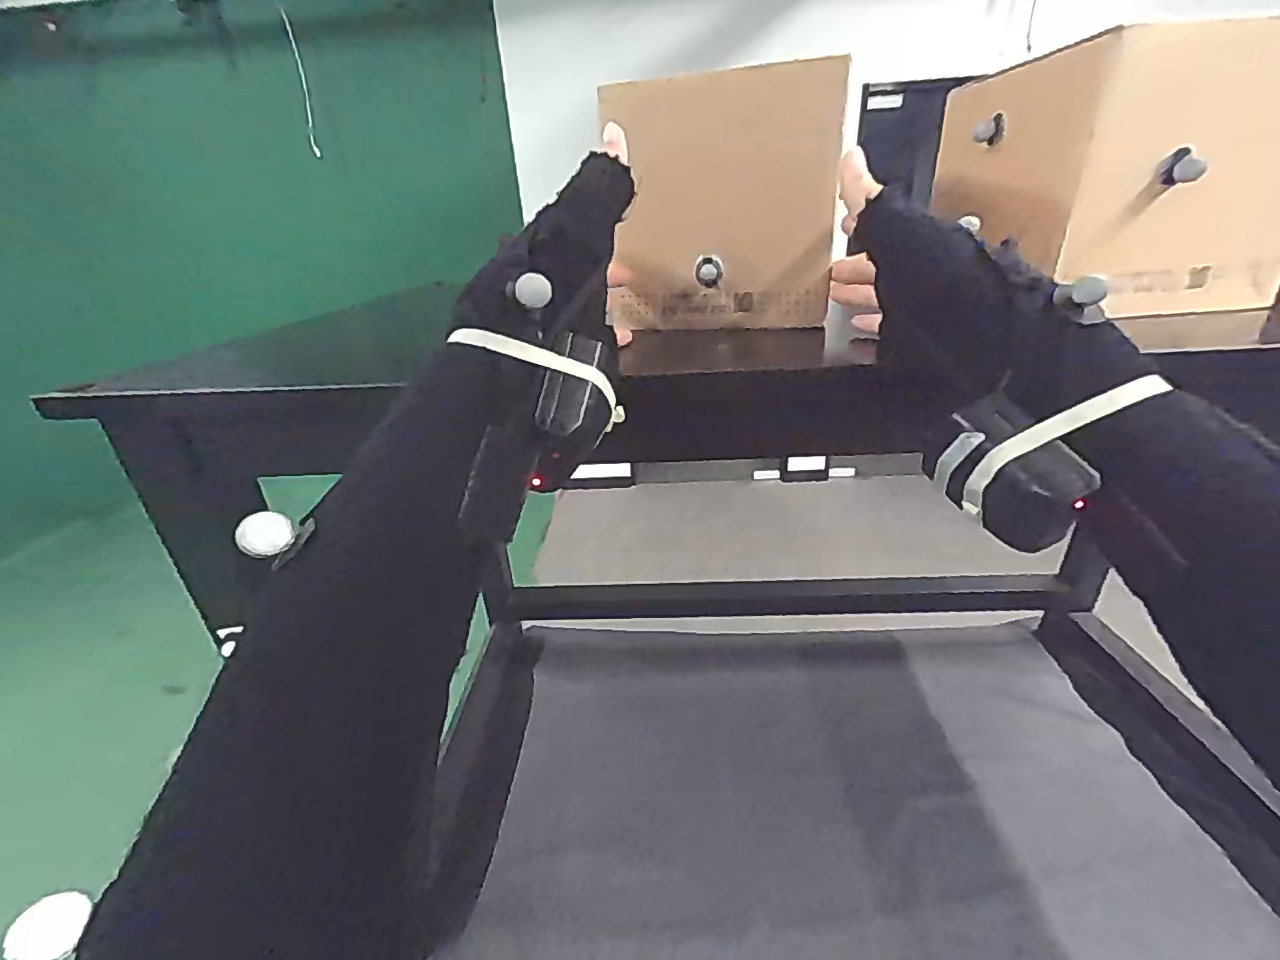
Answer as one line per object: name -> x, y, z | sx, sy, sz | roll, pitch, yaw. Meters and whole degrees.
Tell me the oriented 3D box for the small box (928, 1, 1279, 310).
small box -> 0.350, -0.226, 0.409 | 0.168, 0.176, 0.179 | -4, 25, -1
